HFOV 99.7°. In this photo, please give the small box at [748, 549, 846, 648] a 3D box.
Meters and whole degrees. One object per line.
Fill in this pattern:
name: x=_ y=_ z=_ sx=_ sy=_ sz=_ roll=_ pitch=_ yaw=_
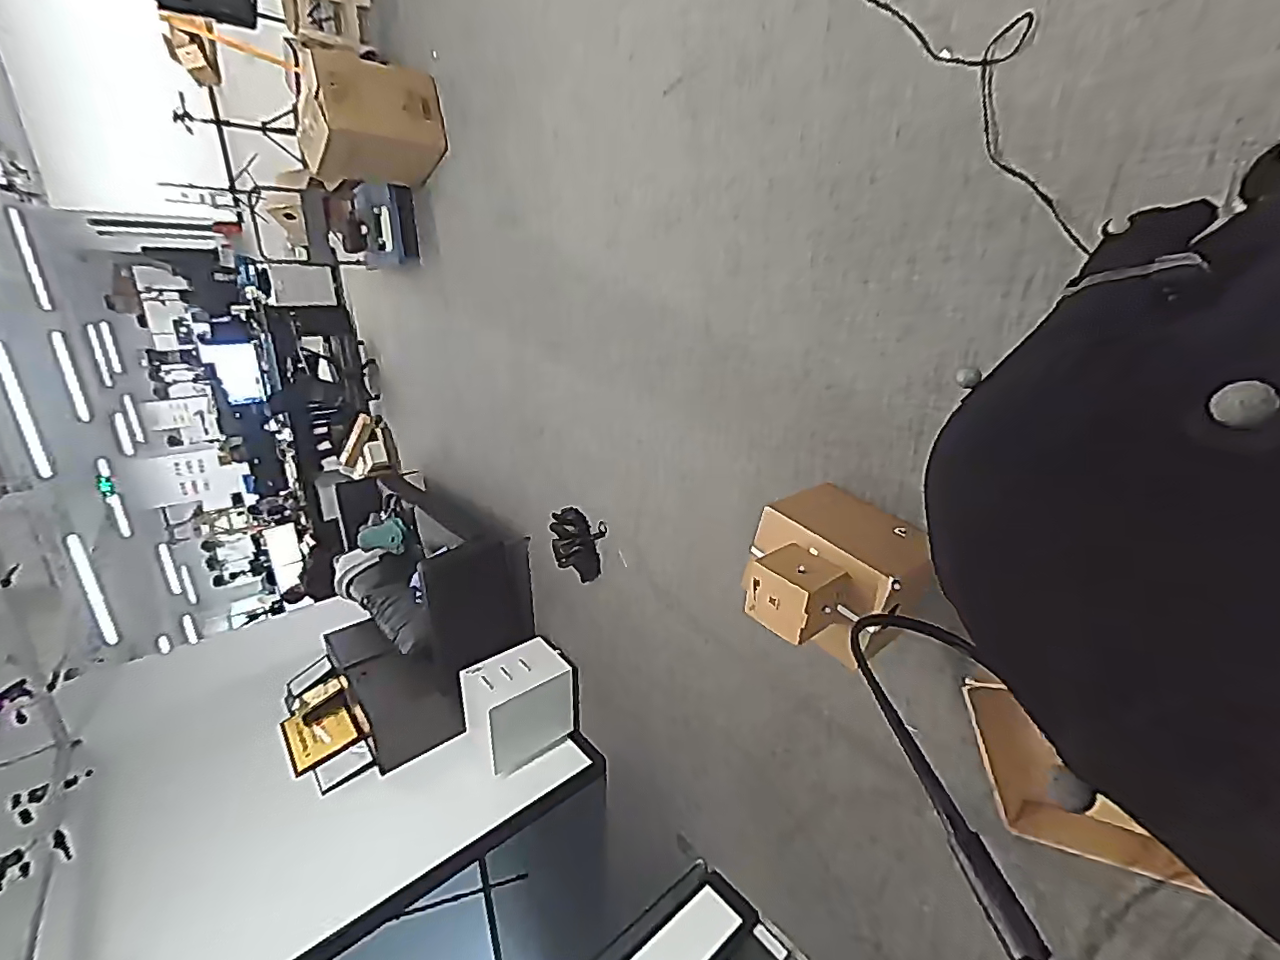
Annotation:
small box: x=0.413 y=0.301 z=1.418 sx=0.179 sy=0.176 sz=0.168 roll=28 pitch=123 yaw=43
